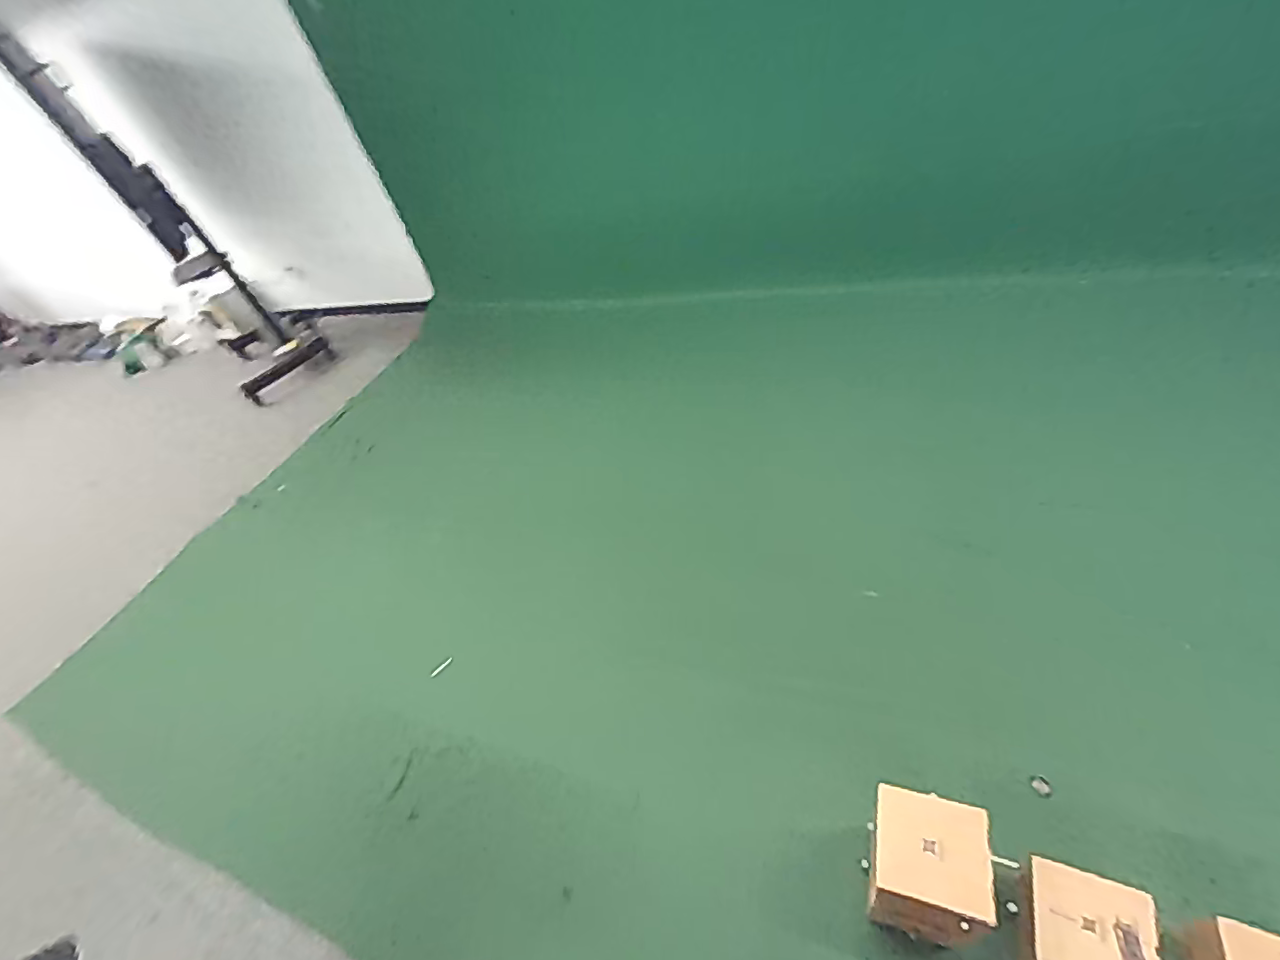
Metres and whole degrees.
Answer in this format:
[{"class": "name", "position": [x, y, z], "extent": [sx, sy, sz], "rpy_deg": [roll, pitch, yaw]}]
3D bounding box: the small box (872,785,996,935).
[{"class": "small box", "position": [0.517, 0.685, 0.973], "extent": [0.179, 0.176, 0.168], "rpy_deg": [4, 48, 23]}]

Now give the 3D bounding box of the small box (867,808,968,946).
[{"class": "small box", "position": [0.553, 0.797, 1.086], "extent": [0.168, 0.176, 0.179], "rpy_deg": [5, 50, 23]}]
